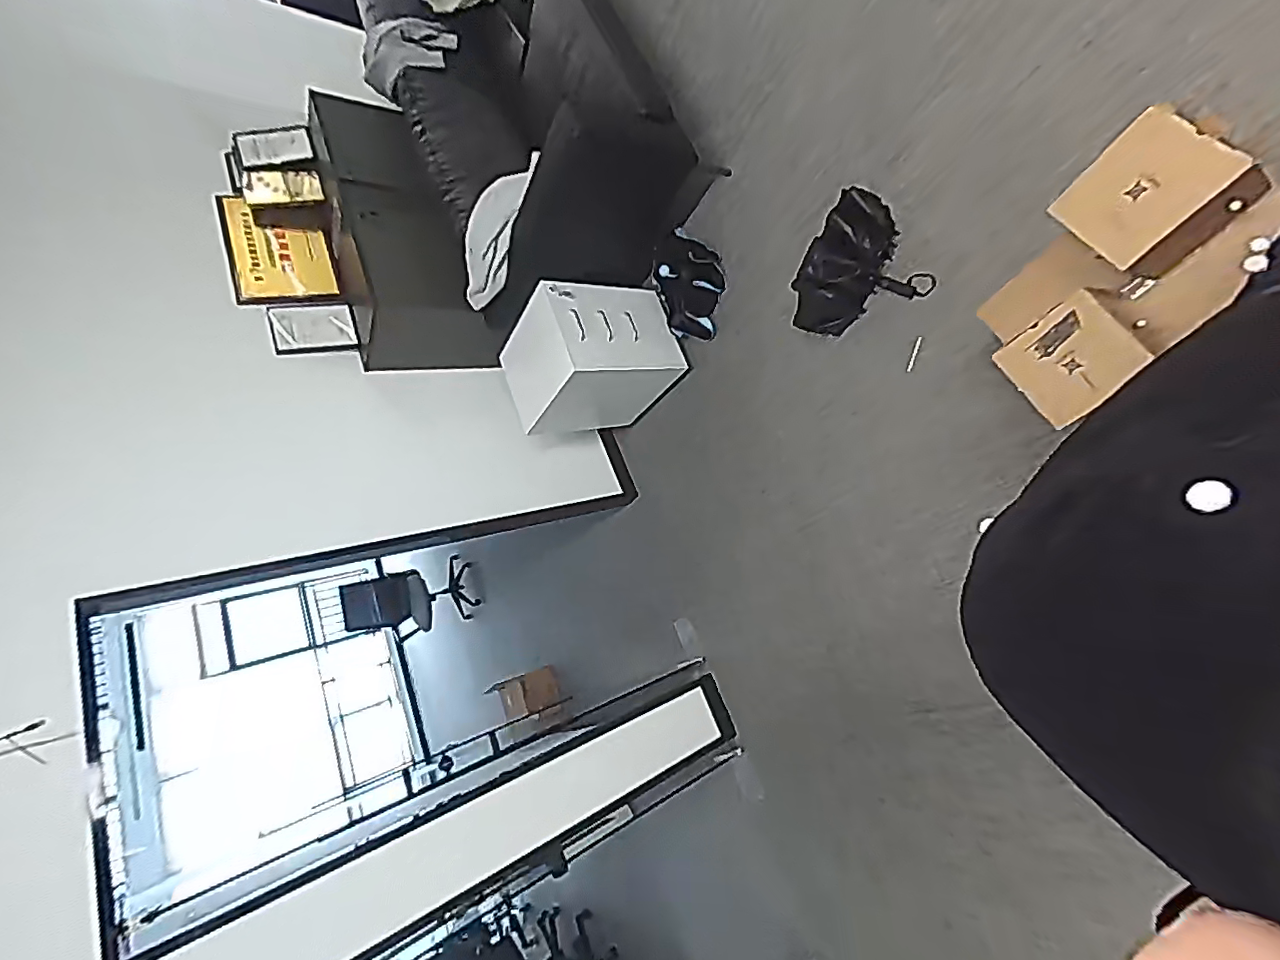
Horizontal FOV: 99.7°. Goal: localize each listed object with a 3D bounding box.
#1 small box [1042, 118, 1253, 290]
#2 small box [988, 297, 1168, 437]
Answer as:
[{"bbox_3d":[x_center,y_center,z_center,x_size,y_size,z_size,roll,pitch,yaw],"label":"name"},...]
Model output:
[{"bbox_3d":[0.810,-0.429,0.864,0.168,0.176,0.179,63,142,27],"label":"small box"},{"bbox_3d":[0.775,-0.199,0.961,0.179,0.176,0.168,61,140,19],"label":"small box"}]
